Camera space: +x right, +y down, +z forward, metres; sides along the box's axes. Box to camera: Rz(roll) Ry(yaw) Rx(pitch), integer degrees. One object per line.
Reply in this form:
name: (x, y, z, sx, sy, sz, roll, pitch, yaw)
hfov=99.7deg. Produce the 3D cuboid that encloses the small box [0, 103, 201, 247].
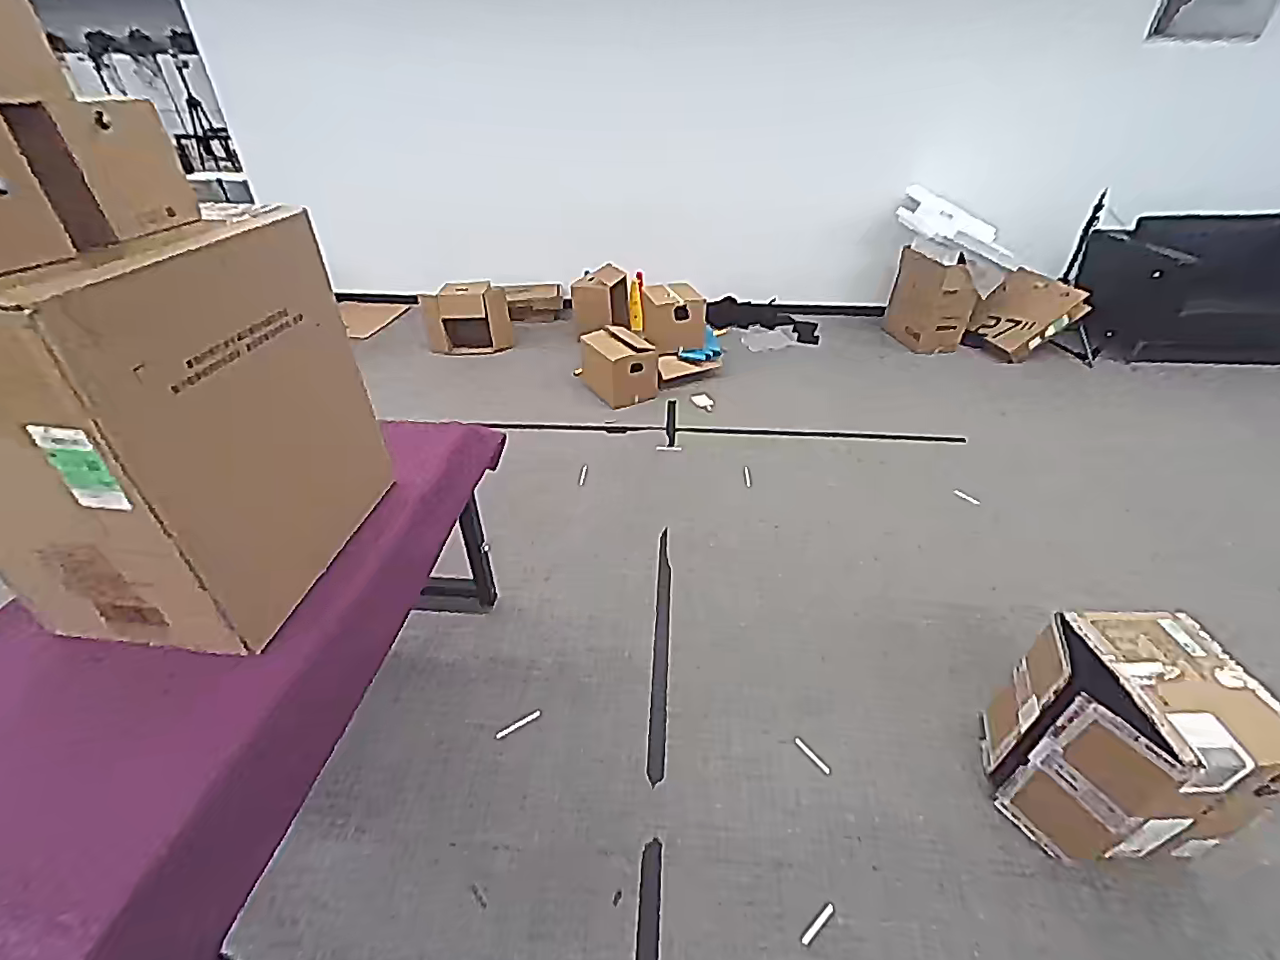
small box: (-0.820, -0.451, 0.799, 0.179, 0.176, 0.168, 3, 37, 5)

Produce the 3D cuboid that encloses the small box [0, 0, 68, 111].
small box: (-0.833, -0.515, 0.607, 0.168, 0.176, 0.179, 2, 35, 2)
